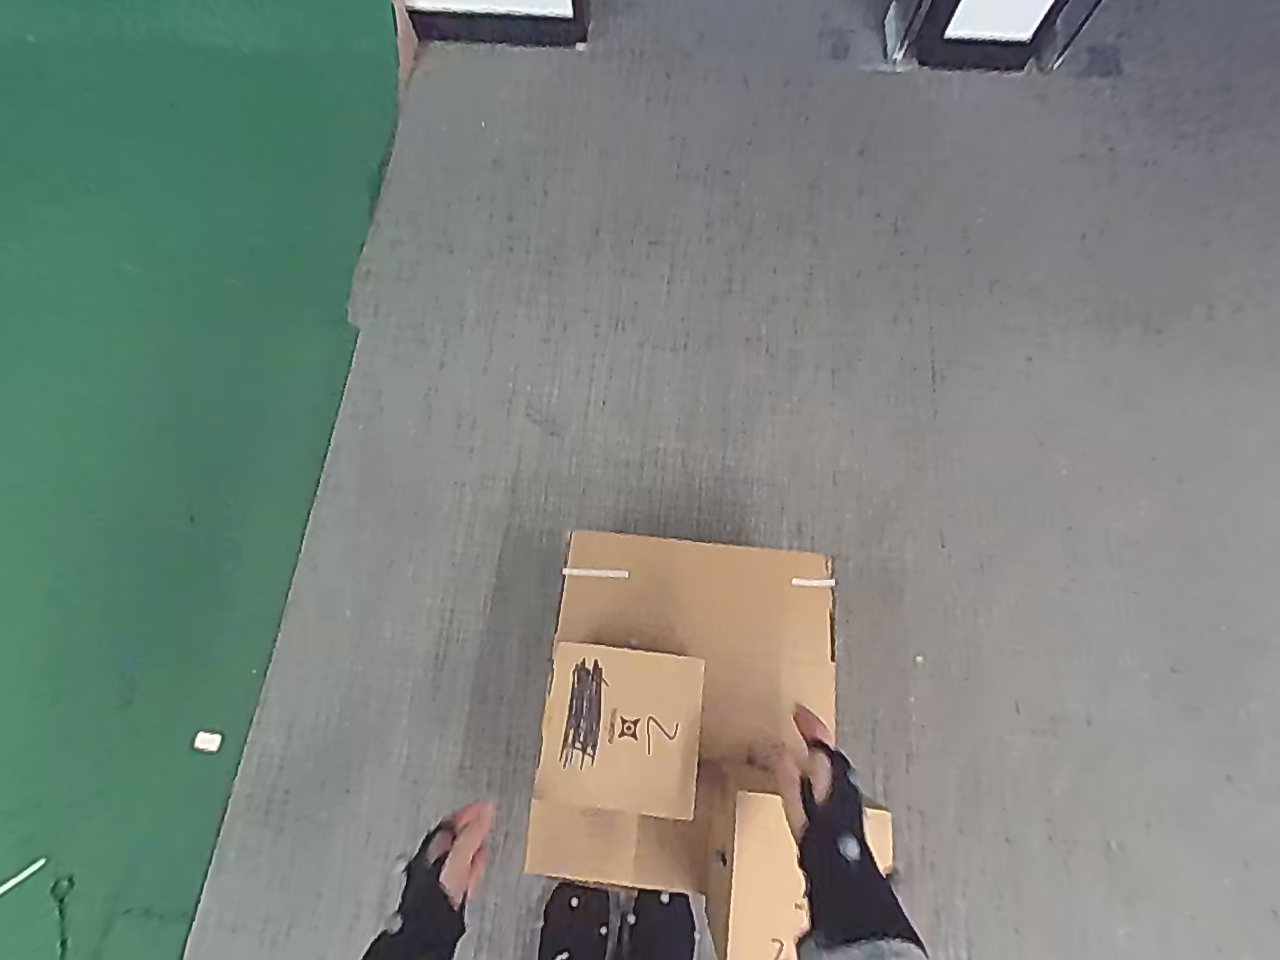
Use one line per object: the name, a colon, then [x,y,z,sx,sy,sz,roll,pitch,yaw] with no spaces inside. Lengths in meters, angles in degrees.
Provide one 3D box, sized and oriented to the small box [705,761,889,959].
small box: [0.172,0.443,0.631,0.168,0.176,0.179,7,73,2]
